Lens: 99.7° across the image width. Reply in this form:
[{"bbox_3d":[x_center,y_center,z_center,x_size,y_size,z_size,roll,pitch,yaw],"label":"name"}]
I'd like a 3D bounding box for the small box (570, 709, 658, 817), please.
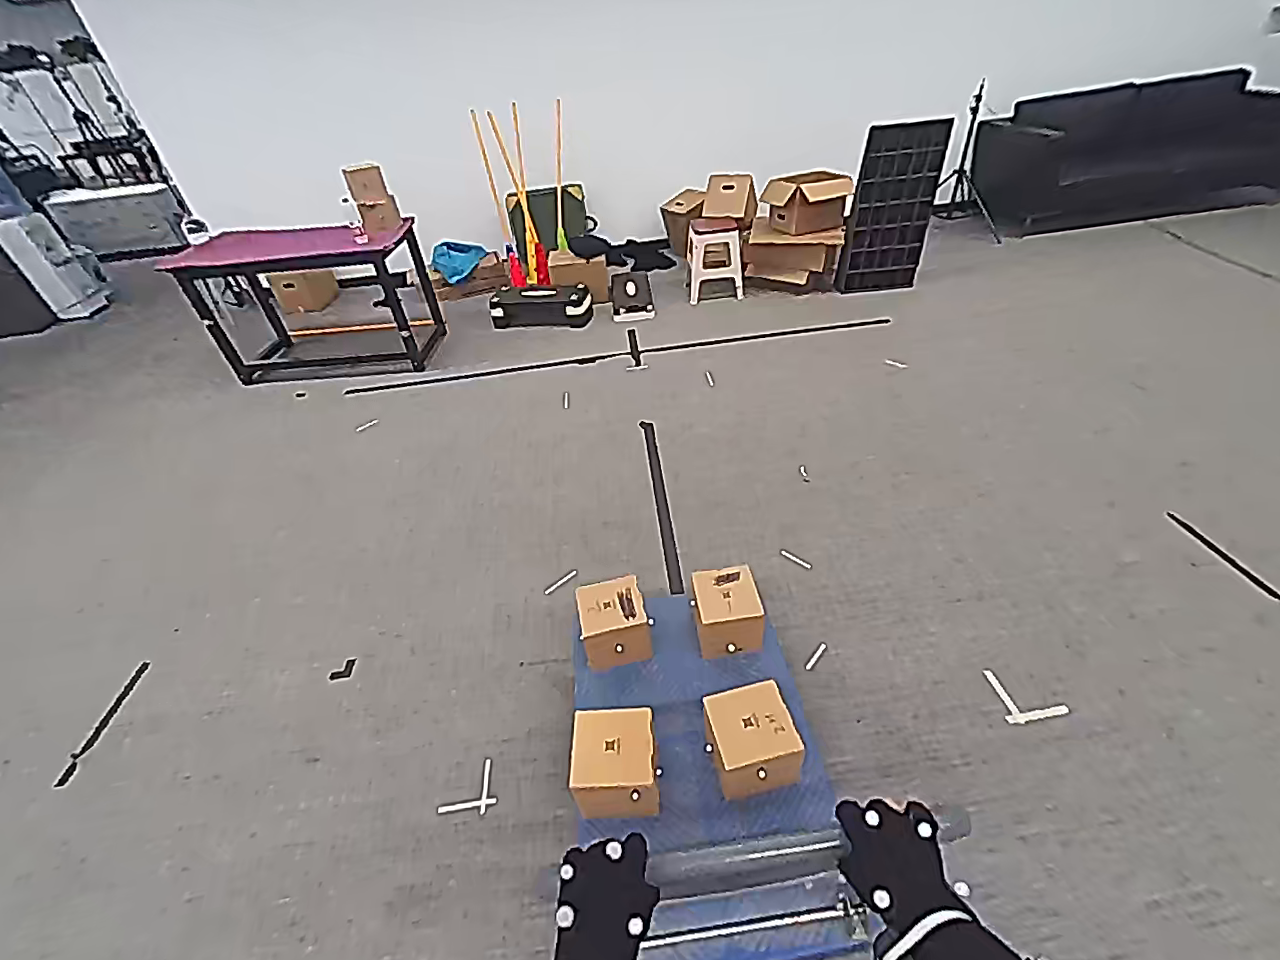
[{"bbox_3d":[-0.053,0.642,1.223,0.179,0.176,0.168,-4,39,2],"label":"small box"}]

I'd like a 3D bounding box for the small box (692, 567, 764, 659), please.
[{"bbox_3d":[0.239,0.371,1.509,0.168,0.176,0.179,-8,40,-1],"label":"small box"}]

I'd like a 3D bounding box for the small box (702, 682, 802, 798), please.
[{"bbox_3d":[0.251,0.596,1.234,0.179,0.176,0.168,-12,40,-6],"label":"small box"}]
